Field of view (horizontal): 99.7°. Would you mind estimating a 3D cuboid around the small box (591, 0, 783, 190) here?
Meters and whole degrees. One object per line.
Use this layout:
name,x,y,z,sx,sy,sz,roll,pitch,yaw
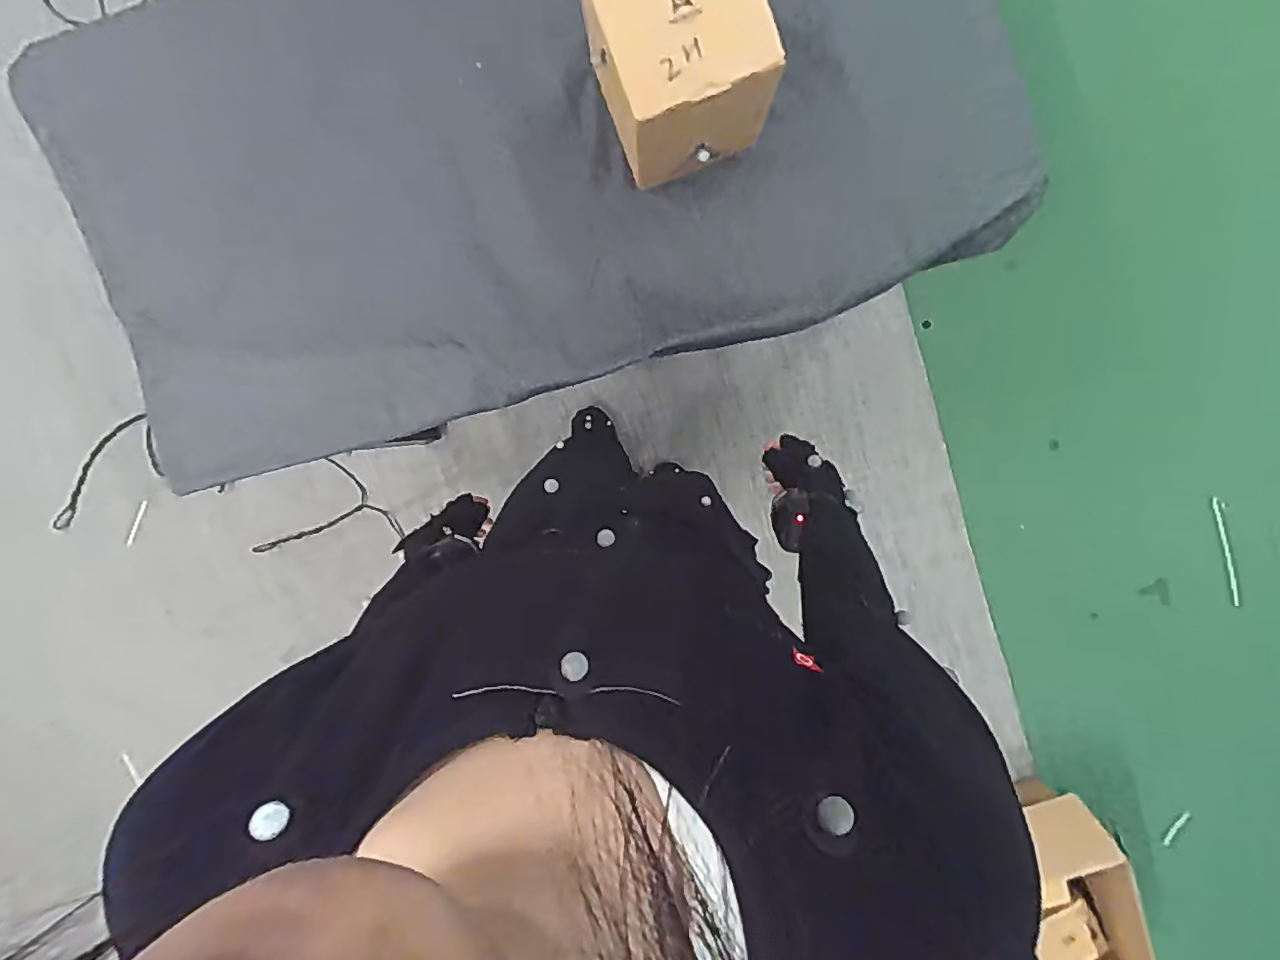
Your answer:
small box,0.046,-0.485,0.636,0.168,0.176,0.179,-20,95,3
